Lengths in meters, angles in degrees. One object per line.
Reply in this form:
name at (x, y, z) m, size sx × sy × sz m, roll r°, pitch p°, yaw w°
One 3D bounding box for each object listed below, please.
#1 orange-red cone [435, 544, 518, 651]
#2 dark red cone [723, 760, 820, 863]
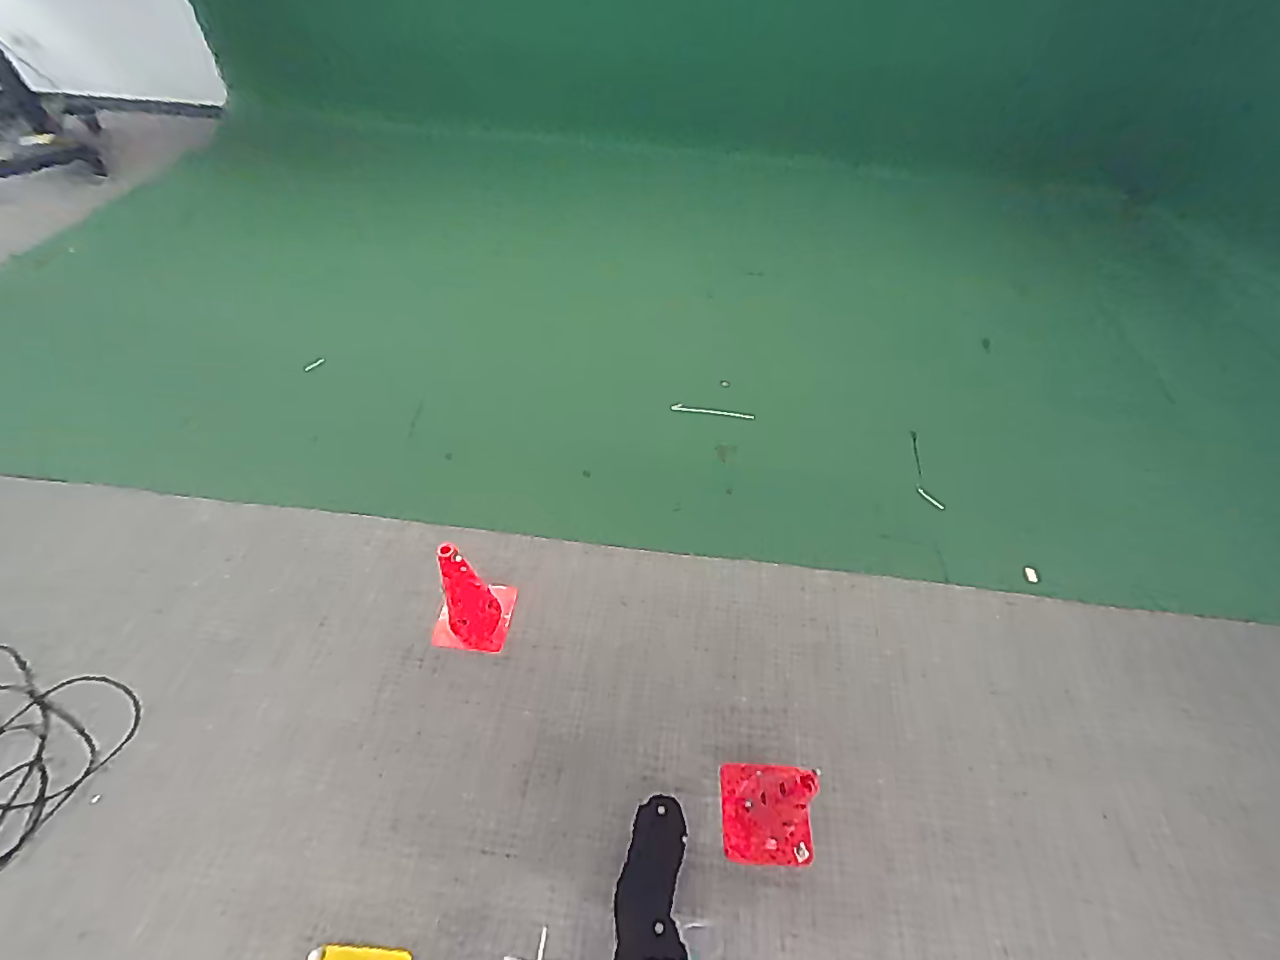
orange-red cone at (-0.459, 0.276, 1.403) m, size 0.198 × 0.360 × 0.199 m, roll 6°, pitch 52°, yaw 4°
dark red cone at (0.298, 0.645, 1.107) m, size 0.202 × 0.394 × 0.201 m, roll 2°, pitch 50°, yaw -1°
